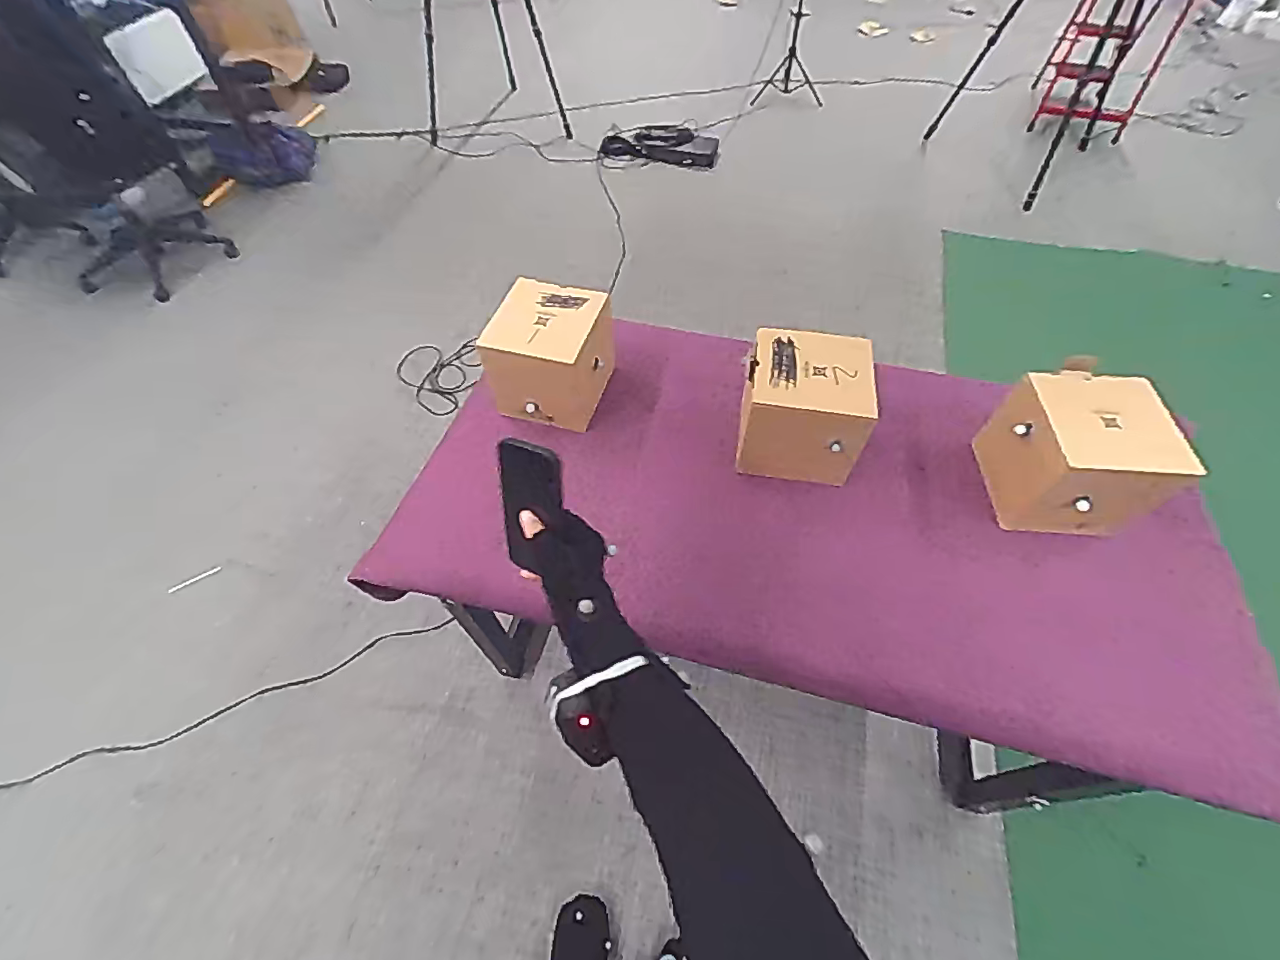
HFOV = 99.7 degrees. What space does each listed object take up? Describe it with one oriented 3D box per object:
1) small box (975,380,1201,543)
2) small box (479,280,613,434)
[{"bbox_3d":[0.632,-0.023,0.794,0.168,0.176,0.179,4,54,4],"label":"small box"},{"bbox_3d":[-0.148,-0.209,0.930,0.168,0.176,0.179,14,58,10],"label":"small box"}]
